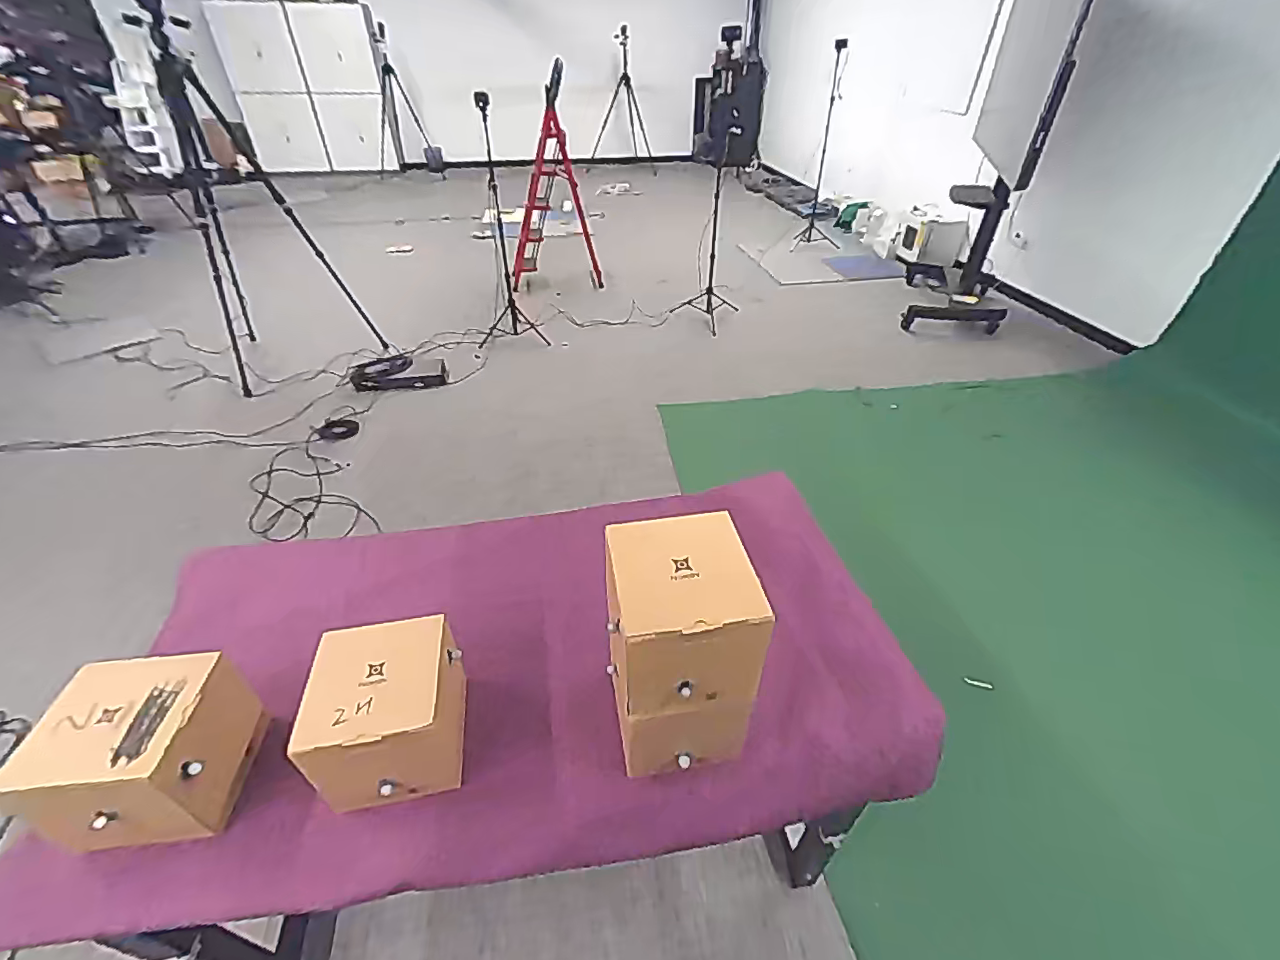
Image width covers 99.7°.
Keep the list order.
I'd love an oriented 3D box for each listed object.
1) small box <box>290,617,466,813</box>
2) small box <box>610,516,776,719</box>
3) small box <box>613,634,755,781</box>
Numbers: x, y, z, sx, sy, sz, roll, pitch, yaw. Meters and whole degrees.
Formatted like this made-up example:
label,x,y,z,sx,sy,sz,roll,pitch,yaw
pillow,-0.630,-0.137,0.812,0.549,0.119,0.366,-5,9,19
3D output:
label,x,y,z,sx,sy,sz,roll,pitch,yaw
small box,-0.342,0.322,0.750,0.168,0.176,0.179,-7,38,-9
small box,0.053,0.170,0.687,0.168,0.176,0.179,-6,39,-8
small box,0.051,0.300,0.784,0.168,0.176,0.179,-6,39,-8
